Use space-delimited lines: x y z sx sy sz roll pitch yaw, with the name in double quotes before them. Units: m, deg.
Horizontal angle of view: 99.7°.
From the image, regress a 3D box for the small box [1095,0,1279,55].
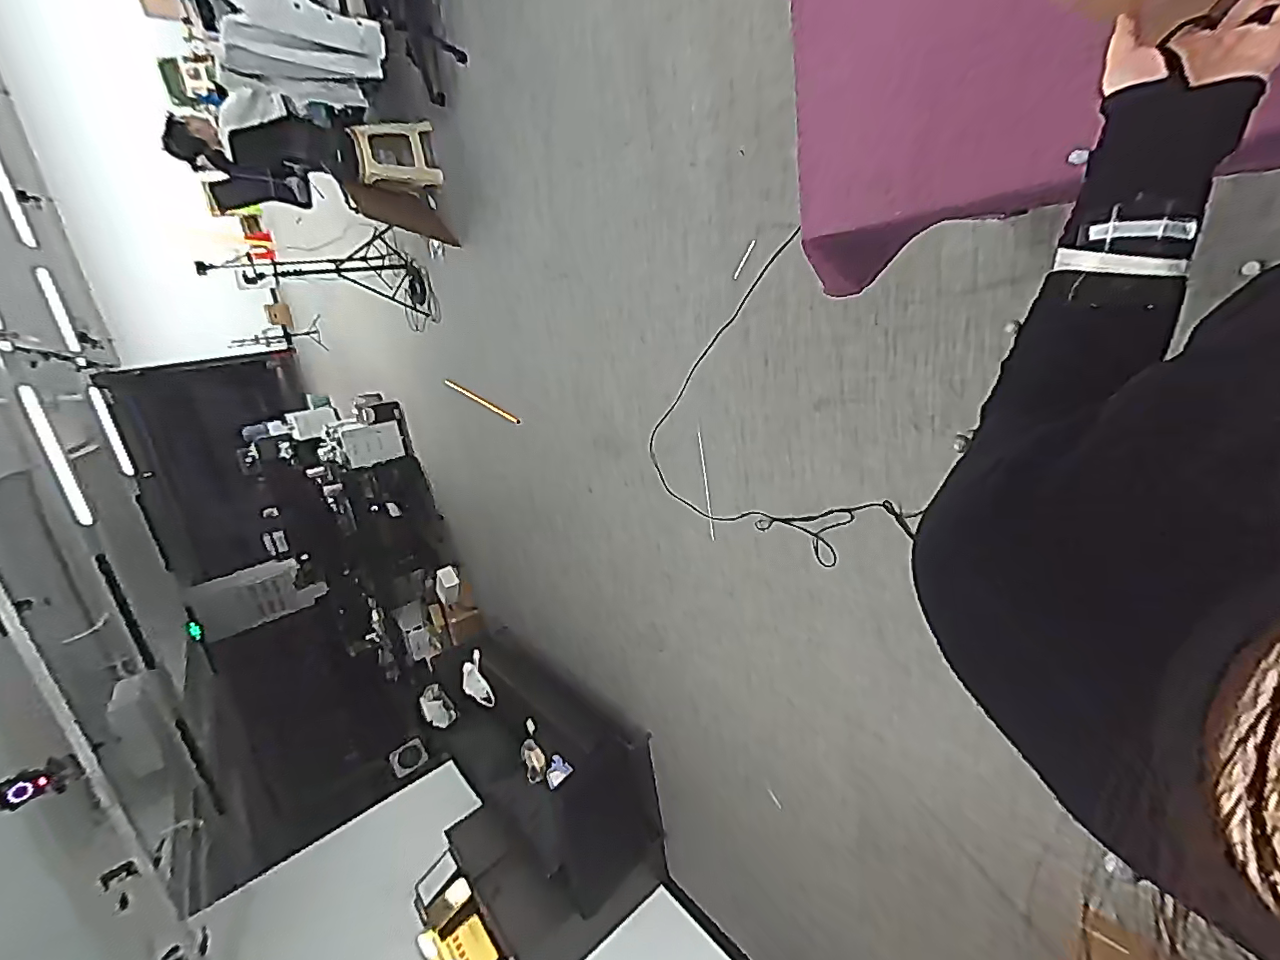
"small box" 0.464 -0.457 0.394 0.168 0.176 0.179 11 115 51
